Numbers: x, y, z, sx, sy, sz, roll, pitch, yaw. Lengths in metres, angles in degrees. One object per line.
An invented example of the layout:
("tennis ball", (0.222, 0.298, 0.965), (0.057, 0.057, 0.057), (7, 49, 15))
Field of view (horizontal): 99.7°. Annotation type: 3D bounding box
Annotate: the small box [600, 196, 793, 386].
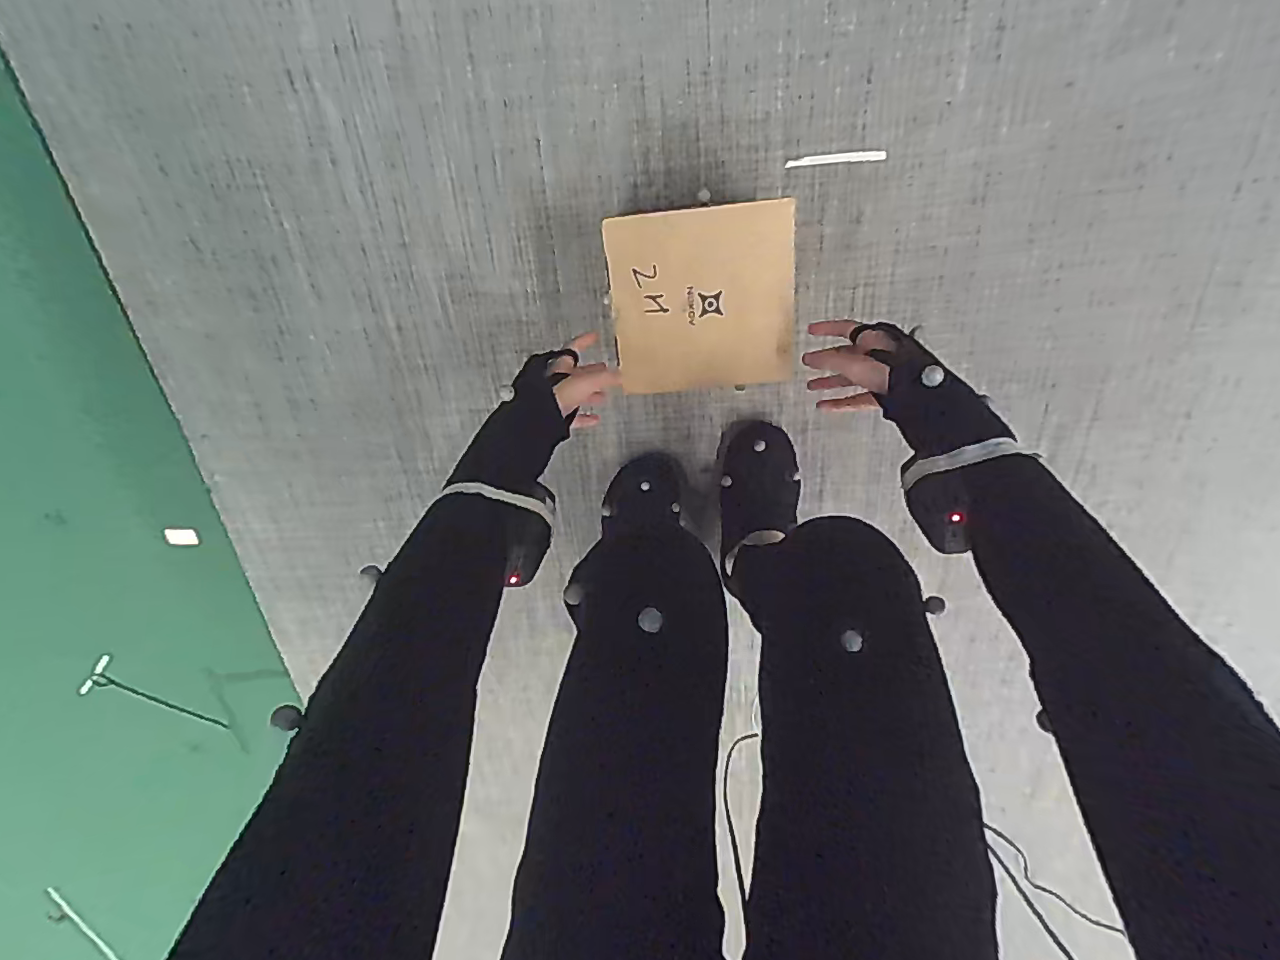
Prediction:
("small box", (0.056, -0.209, 0.587), (0.179, 0.176, 0.168), (-4, 115, 3))
